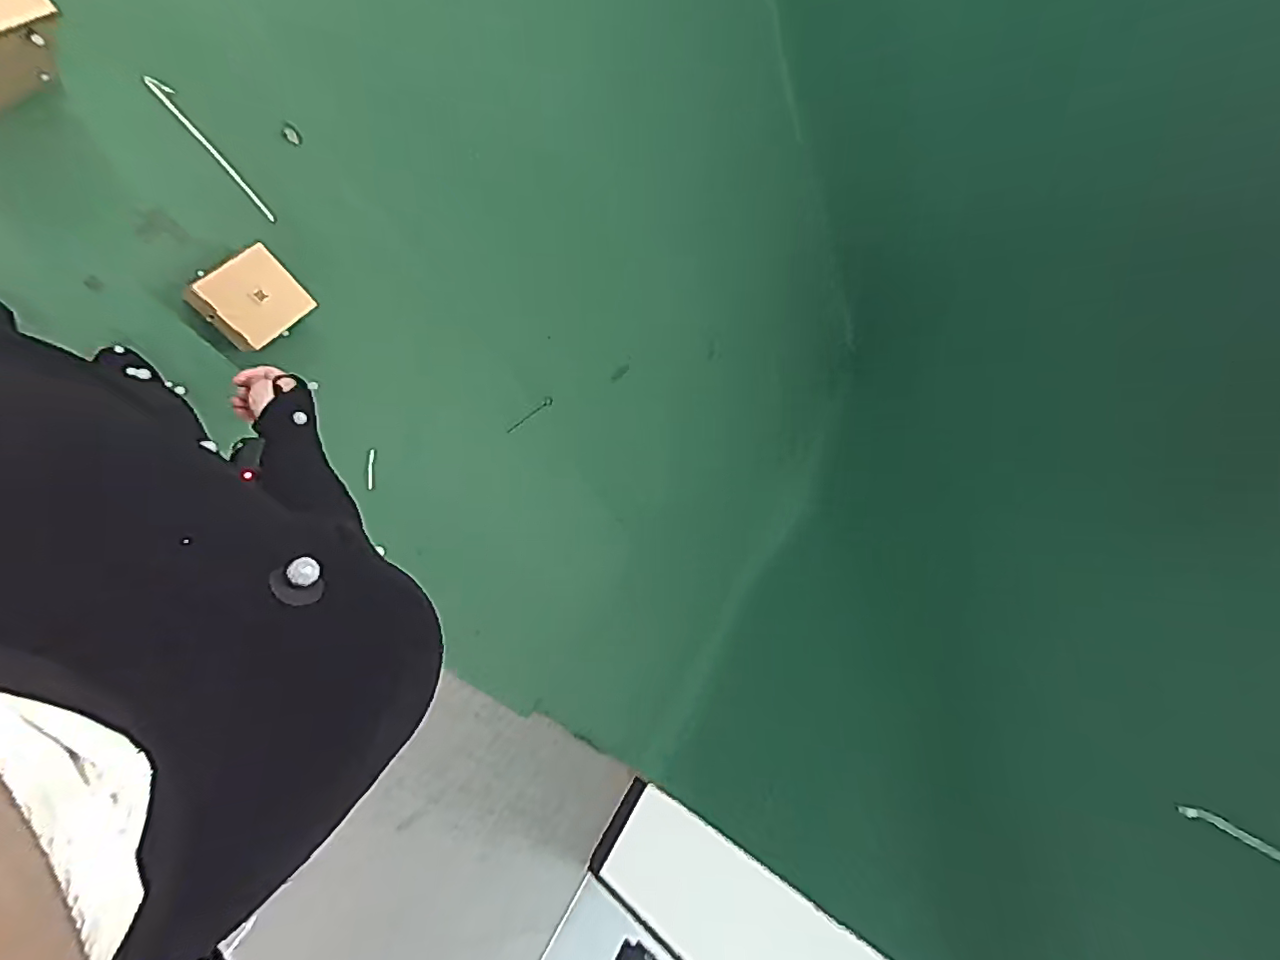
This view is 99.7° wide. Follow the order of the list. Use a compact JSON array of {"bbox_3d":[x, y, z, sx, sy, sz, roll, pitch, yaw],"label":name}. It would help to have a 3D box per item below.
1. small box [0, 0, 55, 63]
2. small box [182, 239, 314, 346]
[{"bbox_3d":[-1.039,-0.741,0.799,0.179,0.176,0.168,-52,131,-24],"label":"small box"},{"bbox_3d":[-0.914,-0.433,1.256,0.179,0.176,0.168,-52,133,-23],"label":"small box"}]
